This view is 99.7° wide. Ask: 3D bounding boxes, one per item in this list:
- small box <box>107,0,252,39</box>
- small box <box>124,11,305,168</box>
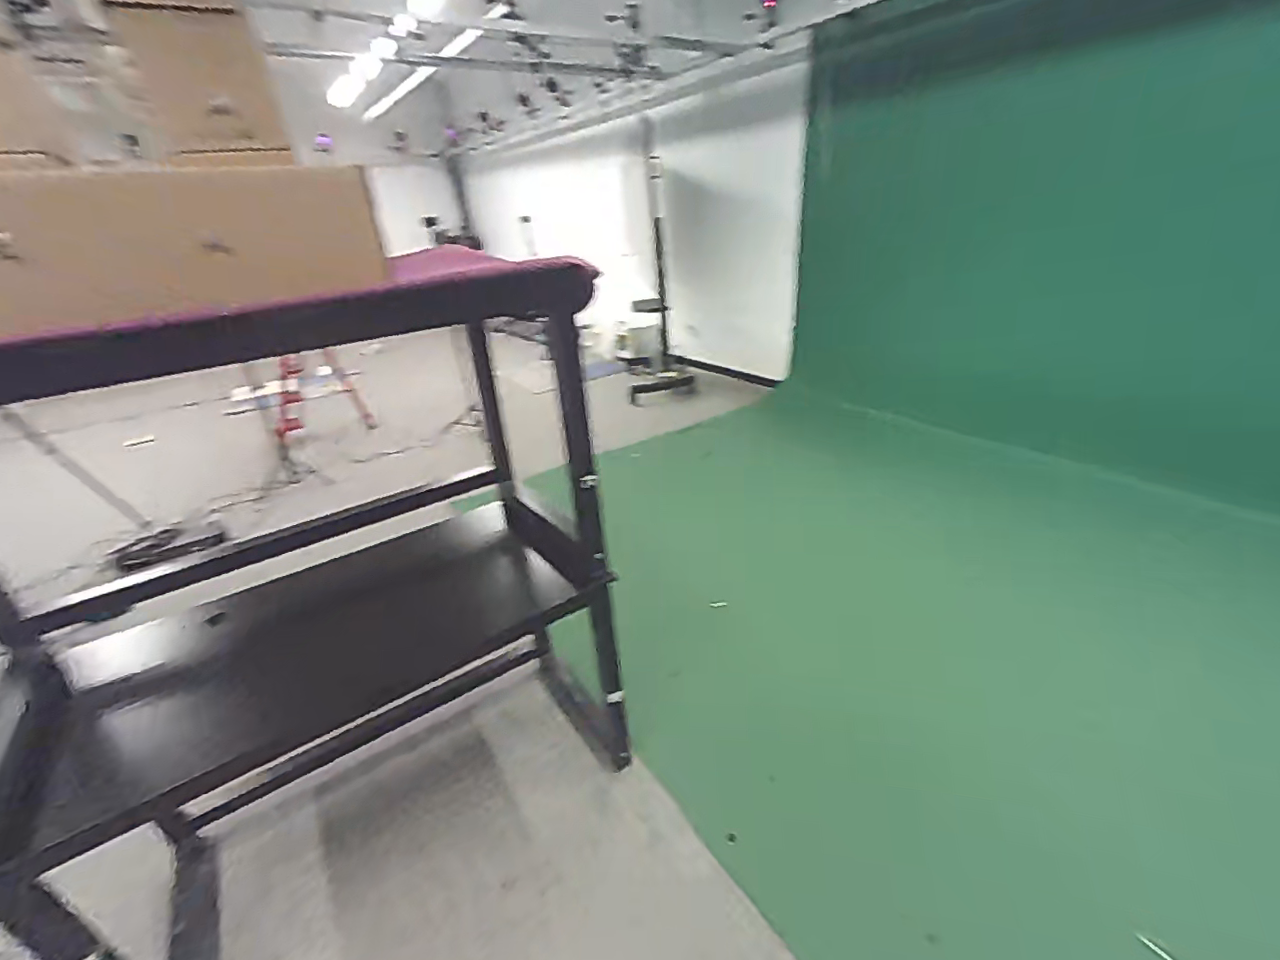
[{"bbox_3d":[-0.671,-0.735,0.764,0.168,0.176,0.179,-20,30,-26],"label":"small box"},{"bbox_3d":[-0.648,-0.596,0.847,0.168,0.176,0.179,-21,31,-26],"label":"small box"}]
